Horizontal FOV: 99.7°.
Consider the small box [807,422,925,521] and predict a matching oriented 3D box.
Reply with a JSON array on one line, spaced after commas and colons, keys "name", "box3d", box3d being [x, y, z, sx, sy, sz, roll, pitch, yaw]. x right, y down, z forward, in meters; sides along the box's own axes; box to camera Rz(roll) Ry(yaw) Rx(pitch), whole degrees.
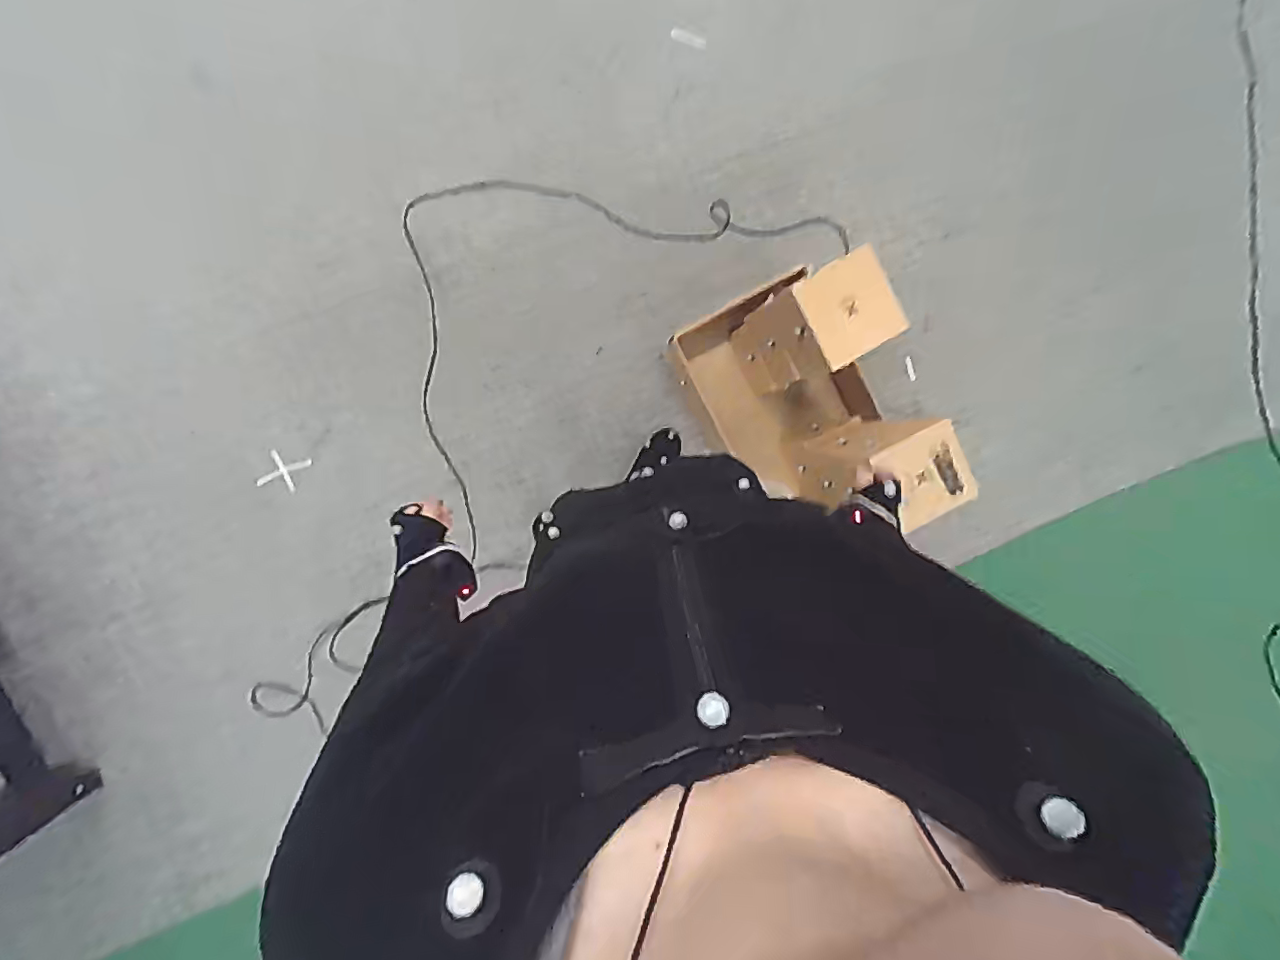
[{"name": "small box", "box3d": [0.512, -0.022, 1.258, 0.179, 0.176, 0.168, -26, 97, -4]}]

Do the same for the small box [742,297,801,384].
[{"name": "small box", "box3d": [0.352, -0.331, 1.220, 0.168, 0.176, 0.179, -25, 97, -2]}]

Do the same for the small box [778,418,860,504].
[{"name": "small box", "box3d": [0.489, -0.048, 1.420, 0.168, 0.176, 0.179, -26, 96, -4]}]

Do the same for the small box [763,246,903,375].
[{"name": "small box", "box3d": [0.367, -0.317, 1.060, 0.168, 0.176, 0.179, -30, 96, -1]}]
